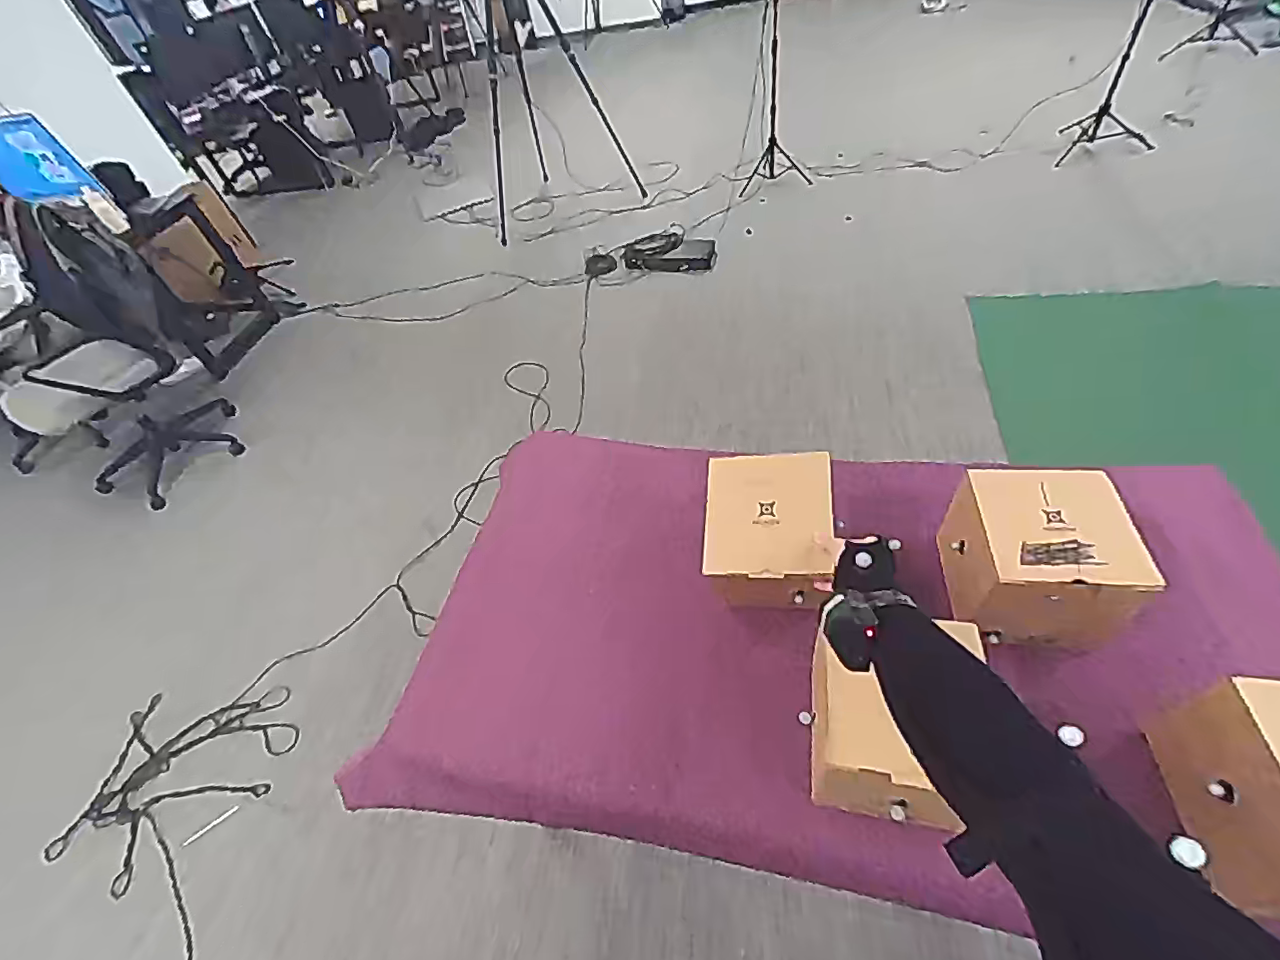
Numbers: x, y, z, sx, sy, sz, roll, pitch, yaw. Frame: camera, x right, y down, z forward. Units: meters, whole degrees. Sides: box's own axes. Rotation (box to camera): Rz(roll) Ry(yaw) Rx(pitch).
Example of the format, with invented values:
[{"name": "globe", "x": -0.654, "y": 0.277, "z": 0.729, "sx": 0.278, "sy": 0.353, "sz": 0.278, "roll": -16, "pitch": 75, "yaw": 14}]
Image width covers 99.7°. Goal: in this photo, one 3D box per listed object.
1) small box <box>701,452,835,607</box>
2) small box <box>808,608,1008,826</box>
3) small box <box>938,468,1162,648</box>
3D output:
[{"name": "small box", "x": 0.192, "y": 0.077, "z": 0.778, "sx": 0.168, "sy": 0.176, "sz": 0.179, "roll": -1, "pitch": 62, "yaw": 19}, {"name": "small box", "x": 0.286, "y": 0.272, "z": 0.619, "sx": 0.168, "sy": 0.176, "sz": 0.179, "roll": 3, "pitch": 49, "yaw": 14}, {"name": "small box", "x": 0.517, "y": 0.104, "z": 0.717, "sx": 0.168, "sy": 0.176, "sz": 0.179, "roll": 2, "pitch": 49, "yaw": 13}]
